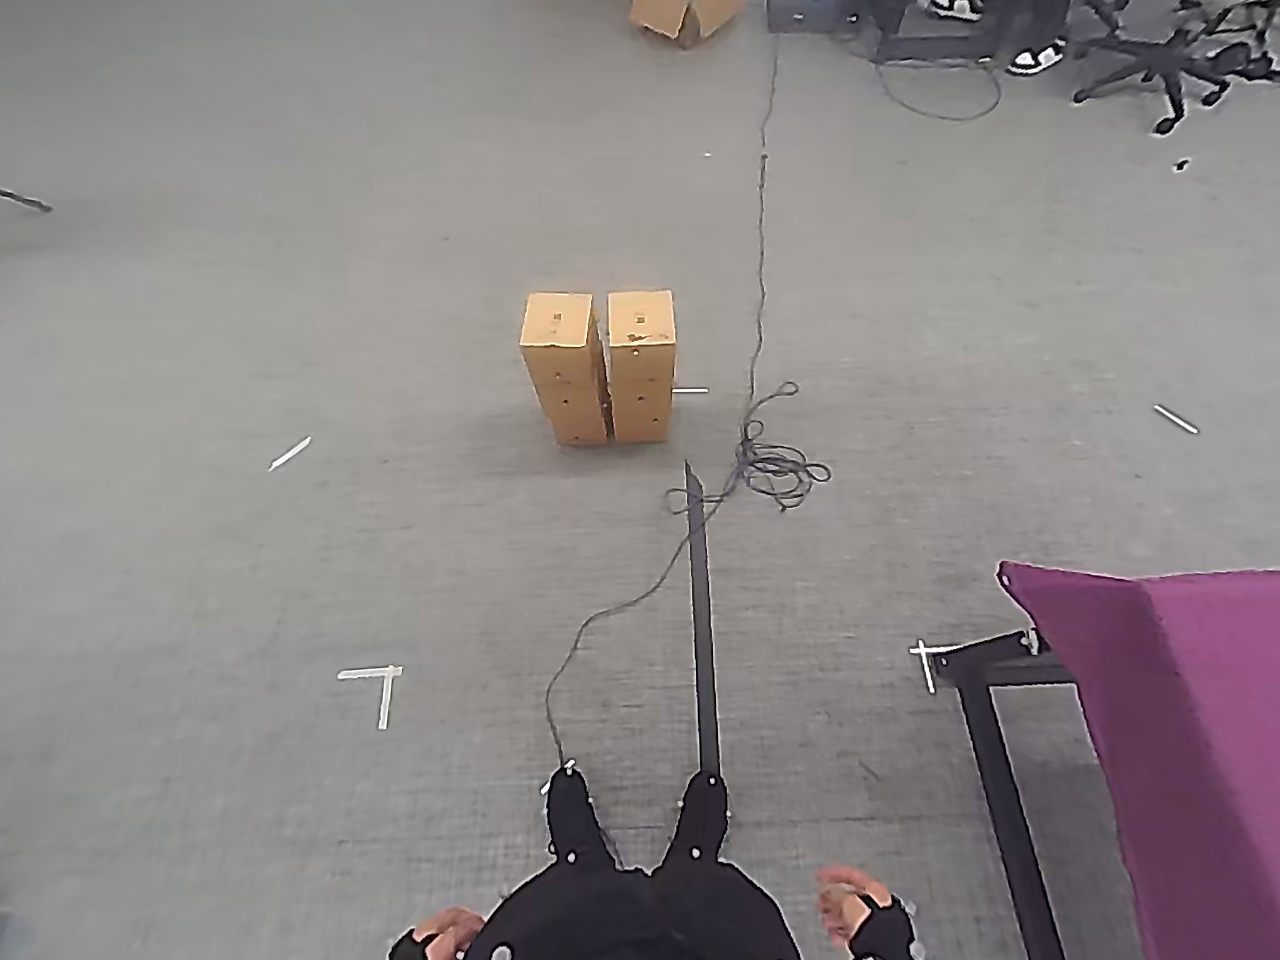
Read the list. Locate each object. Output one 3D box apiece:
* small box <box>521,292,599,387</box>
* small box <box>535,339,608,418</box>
[{"bbox_3d":[-0.202,-0.367,1.417,0.168,0.176,0.179,2,66,4],"label":"small box"},{"bbox_3d":[-0.190,-0.290,1.563,0.179,0.176,0.168,2,65,5],"label":"small box"}]
